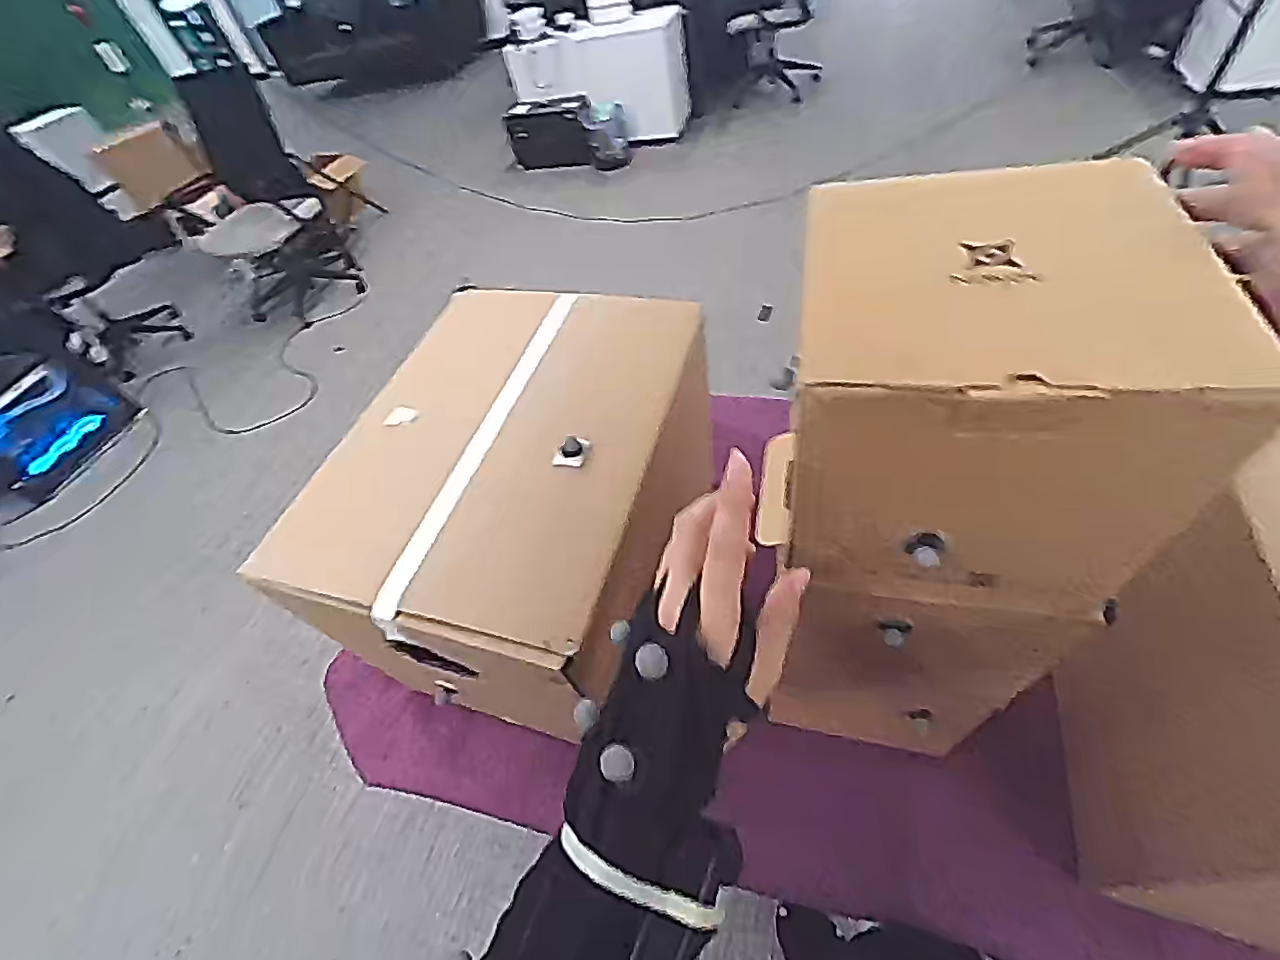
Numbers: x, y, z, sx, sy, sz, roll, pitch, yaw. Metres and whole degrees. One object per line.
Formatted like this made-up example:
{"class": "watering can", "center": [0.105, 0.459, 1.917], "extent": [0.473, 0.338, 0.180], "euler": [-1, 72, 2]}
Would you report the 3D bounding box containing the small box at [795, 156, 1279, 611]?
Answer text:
{"class": "small box", "center": [0.178, -0.050, 0.303], "extent": [0.168, 0.176, 0.179], "euler": [4, 53, 15]}
